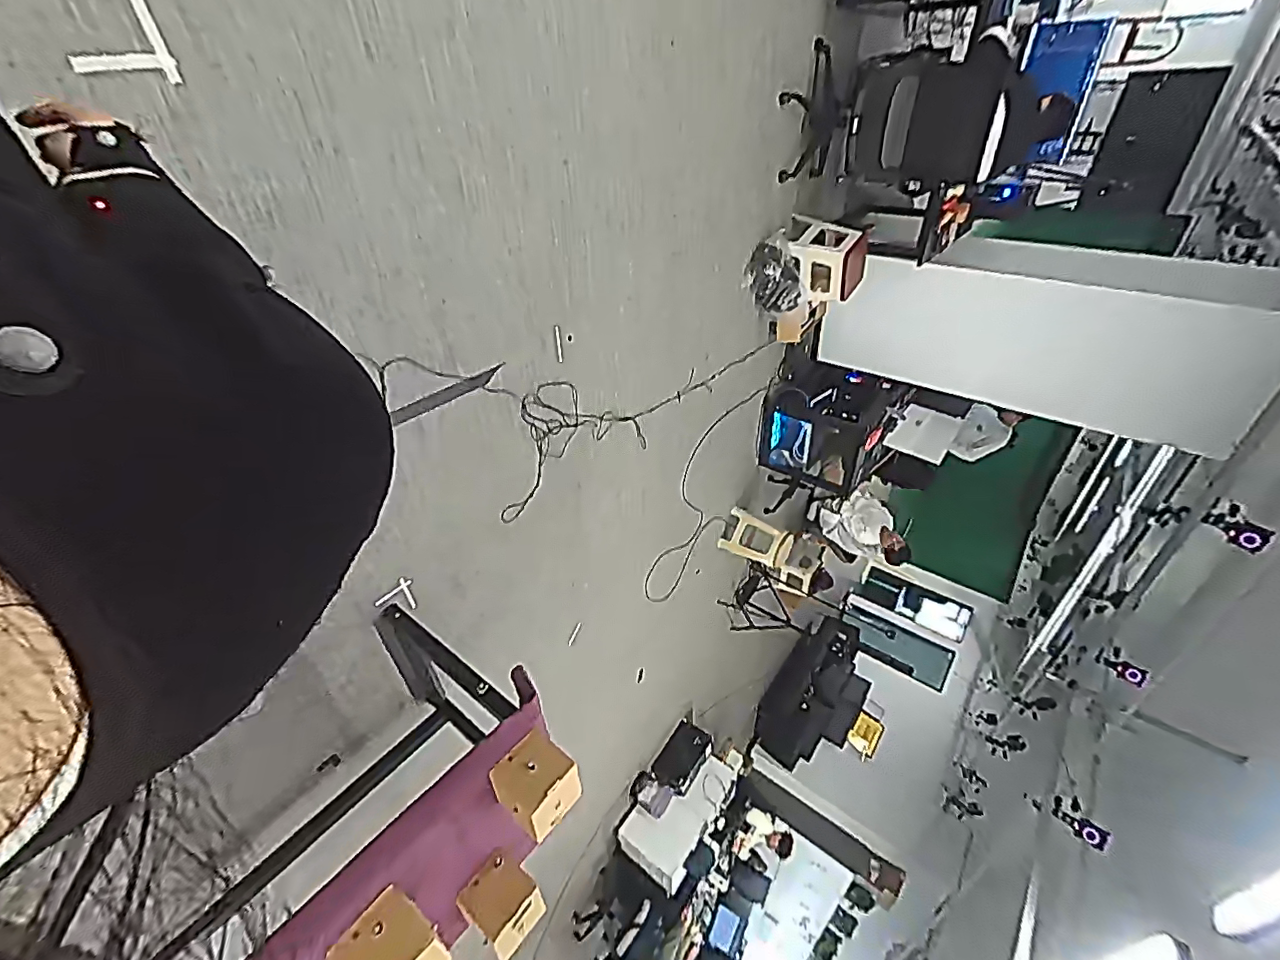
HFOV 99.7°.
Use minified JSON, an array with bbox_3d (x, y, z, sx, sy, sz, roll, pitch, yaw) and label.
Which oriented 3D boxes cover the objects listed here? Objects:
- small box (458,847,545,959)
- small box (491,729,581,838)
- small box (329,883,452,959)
[{"bbox_3d":[-0.400,1.211,1.561,0.168,0.176,0.179,-36,137,-40],"label":"small box"},{"bbox_3d":[-0.283,0.814,1.470,0.168,0.176,0.179,-37,138,-39],"label":"small box"},{"bbox_3d":[-0.560,1.064,1.222,0.168,0.176,0.179,-39,141,-37],"label":"small box"}]
